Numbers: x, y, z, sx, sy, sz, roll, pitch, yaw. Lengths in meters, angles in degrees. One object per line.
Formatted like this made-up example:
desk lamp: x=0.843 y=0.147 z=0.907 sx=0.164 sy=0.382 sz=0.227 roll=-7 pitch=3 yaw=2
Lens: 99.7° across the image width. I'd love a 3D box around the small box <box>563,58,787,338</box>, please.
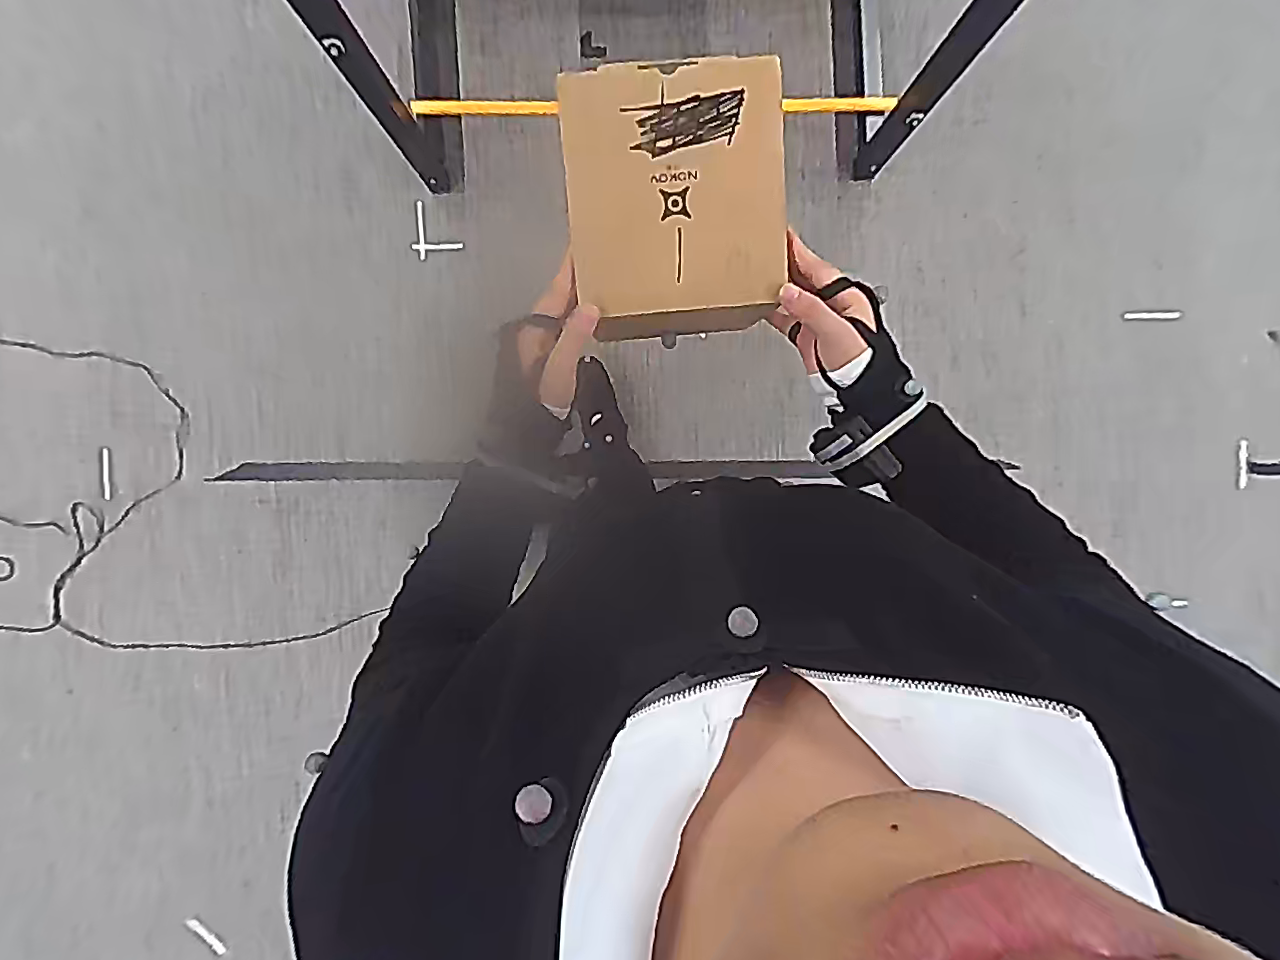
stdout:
small box: x=0.027 y=-0.233 z=0.490 sx=0.168 sy=0.176 sz=0.179 roll=-5 pitch=99 yaw=1
